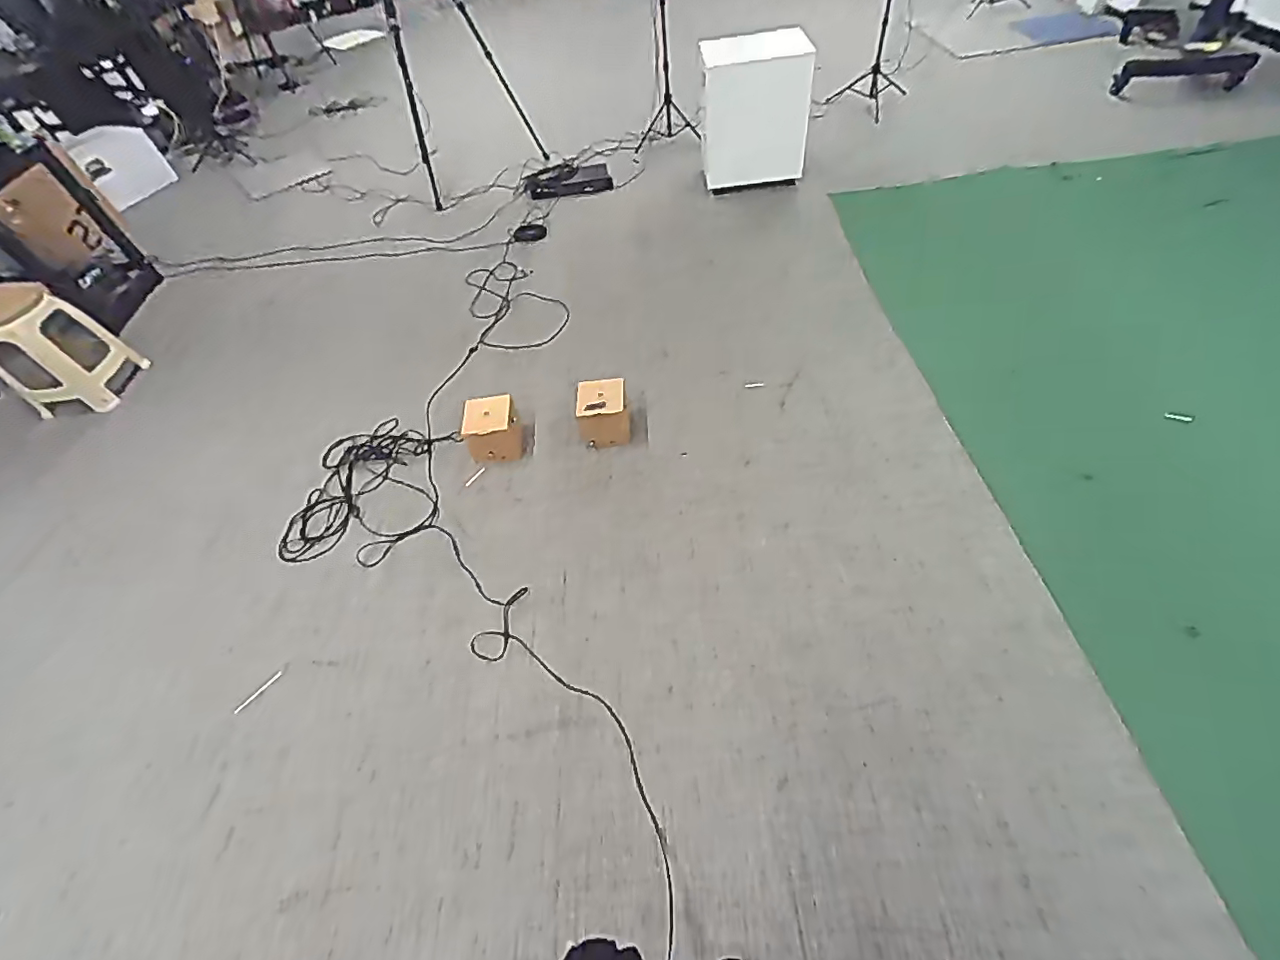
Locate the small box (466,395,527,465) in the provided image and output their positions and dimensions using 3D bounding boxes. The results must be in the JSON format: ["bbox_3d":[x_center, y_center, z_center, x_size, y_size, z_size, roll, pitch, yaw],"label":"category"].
[{"bbox_3d":[-0.516,-0.181,1.969,0.168,0.176,0.179,-8,53,3],"label":"small box"}]

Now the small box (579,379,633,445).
[{"bbox_3d":[-0.117,-0.238,1.953,0.168,0.176,0.179,-4,52,6],"label":"small box"}]
